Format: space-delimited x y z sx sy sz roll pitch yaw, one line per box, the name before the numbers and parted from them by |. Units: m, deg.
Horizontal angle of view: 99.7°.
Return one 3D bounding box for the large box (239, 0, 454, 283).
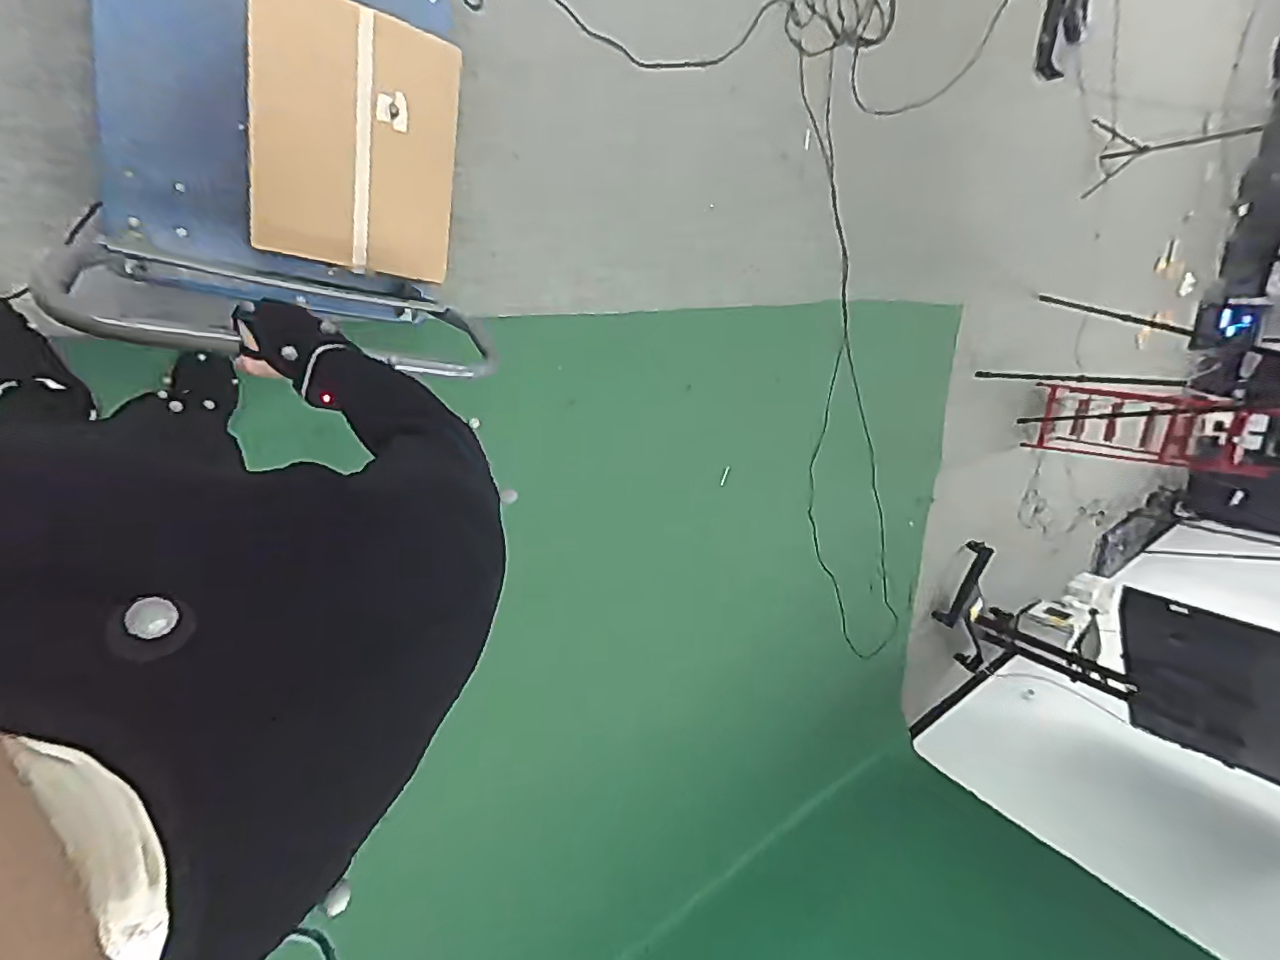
large box | -0.565 -0.611 1.036 0.320 0.320 0.408 -1 108 -36
